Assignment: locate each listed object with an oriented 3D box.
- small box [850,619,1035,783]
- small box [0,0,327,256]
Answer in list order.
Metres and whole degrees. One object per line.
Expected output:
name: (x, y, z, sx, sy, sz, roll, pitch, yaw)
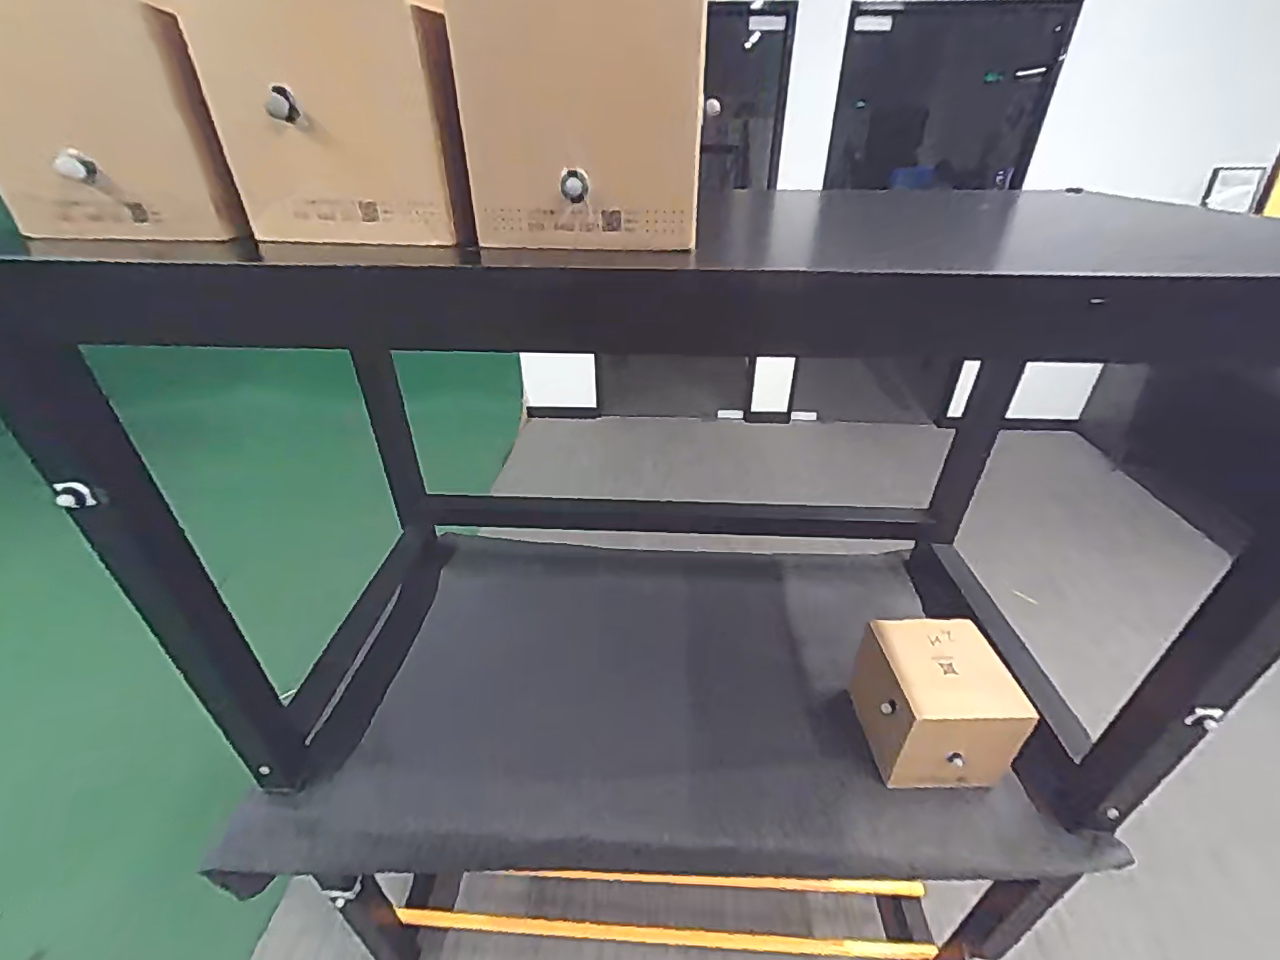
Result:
small box: (0.442, 0.336, 0.823, 0.168, 0.176, 0.179, 0, 32, -1)
small box: (-0.402, -0.300, 0.464, 0.168, 0.176, 0.179, 1, 34, 1)
